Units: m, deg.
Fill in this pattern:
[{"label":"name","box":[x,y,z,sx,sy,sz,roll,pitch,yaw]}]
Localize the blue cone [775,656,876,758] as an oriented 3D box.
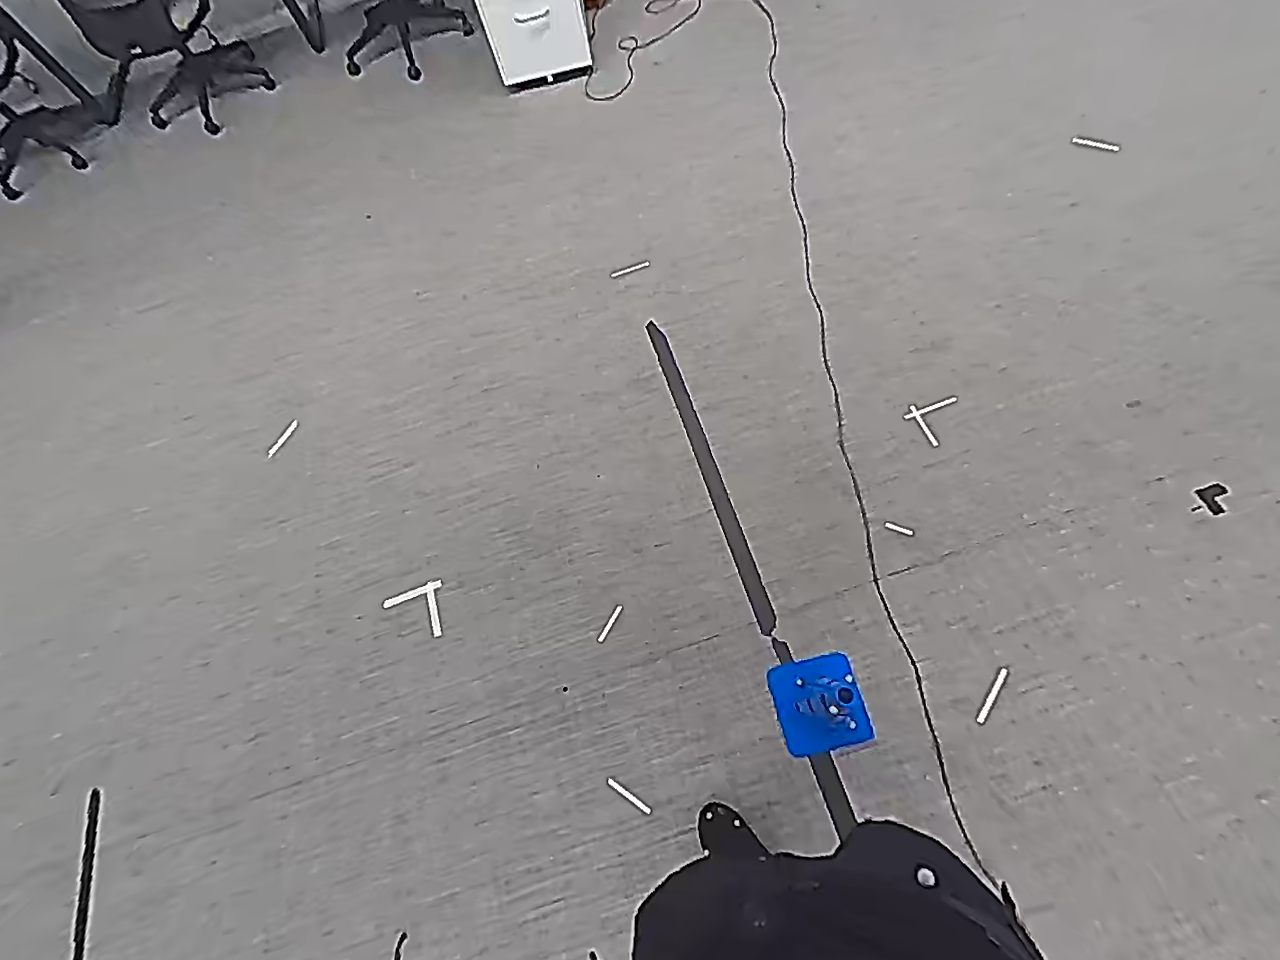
[{"label":"blue cone","box":[0.398,0.446,1.094,0.193,0.380,0.192,-16,64,2]}]
